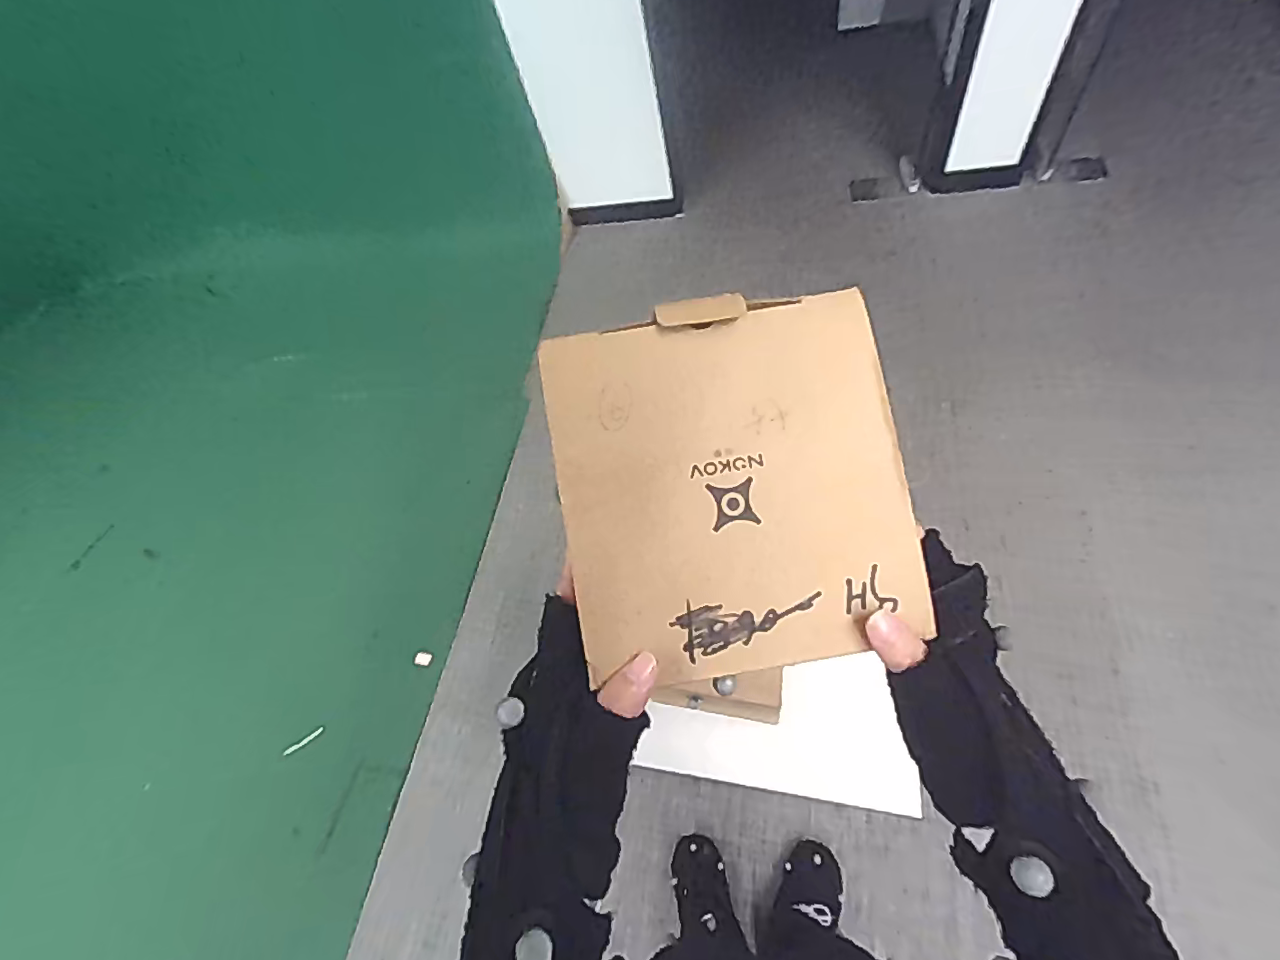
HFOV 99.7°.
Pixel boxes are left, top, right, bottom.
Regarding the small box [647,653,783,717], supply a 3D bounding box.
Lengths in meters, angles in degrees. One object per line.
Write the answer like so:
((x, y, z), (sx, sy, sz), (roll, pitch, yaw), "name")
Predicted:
((0.101, 0.208, 0.721), (0.179, 0.176, 0.168), (5, 62, 16), "small box")

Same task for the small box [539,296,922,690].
((0.041, 0.011, 0.351), (0.168, 0.176, 0.179), (-12, 84, -2), "small box")
